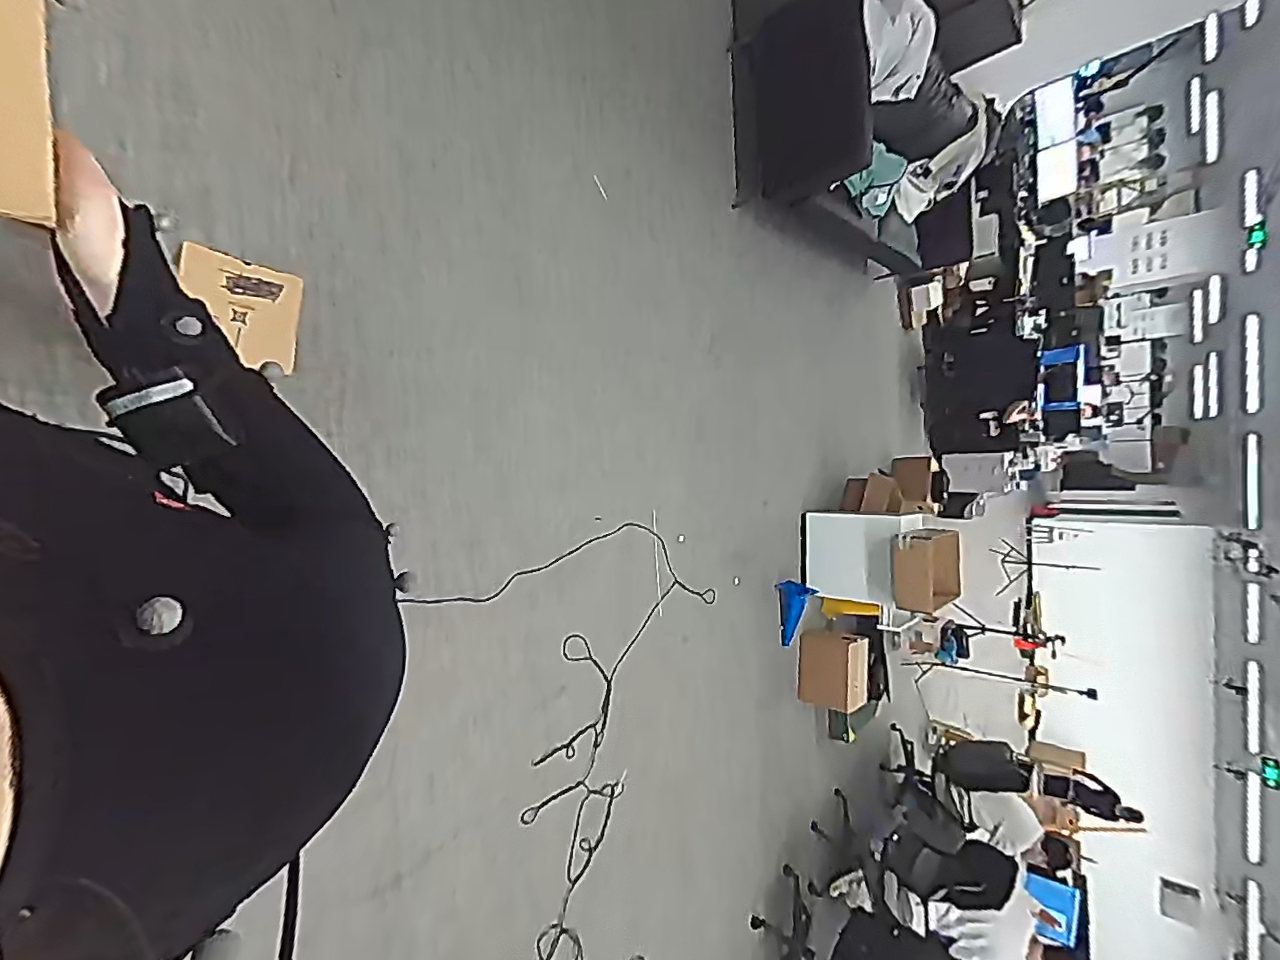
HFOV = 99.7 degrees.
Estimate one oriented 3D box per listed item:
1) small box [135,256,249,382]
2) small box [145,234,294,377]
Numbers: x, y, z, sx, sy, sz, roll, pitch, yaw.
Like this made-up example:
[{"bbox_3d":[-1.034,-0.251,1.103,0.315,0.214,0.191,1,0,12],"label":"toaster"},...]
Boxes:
[{"bbox_3d":[-0.847,-0.297,1.040,0.168,0.176,0.179,6,87,-48],"label":"small box"},{"bbox_3d":[-0.725,-0.286,0.930,0.168,0.176,0.179,9,86,-48],"label":"small box"}]
